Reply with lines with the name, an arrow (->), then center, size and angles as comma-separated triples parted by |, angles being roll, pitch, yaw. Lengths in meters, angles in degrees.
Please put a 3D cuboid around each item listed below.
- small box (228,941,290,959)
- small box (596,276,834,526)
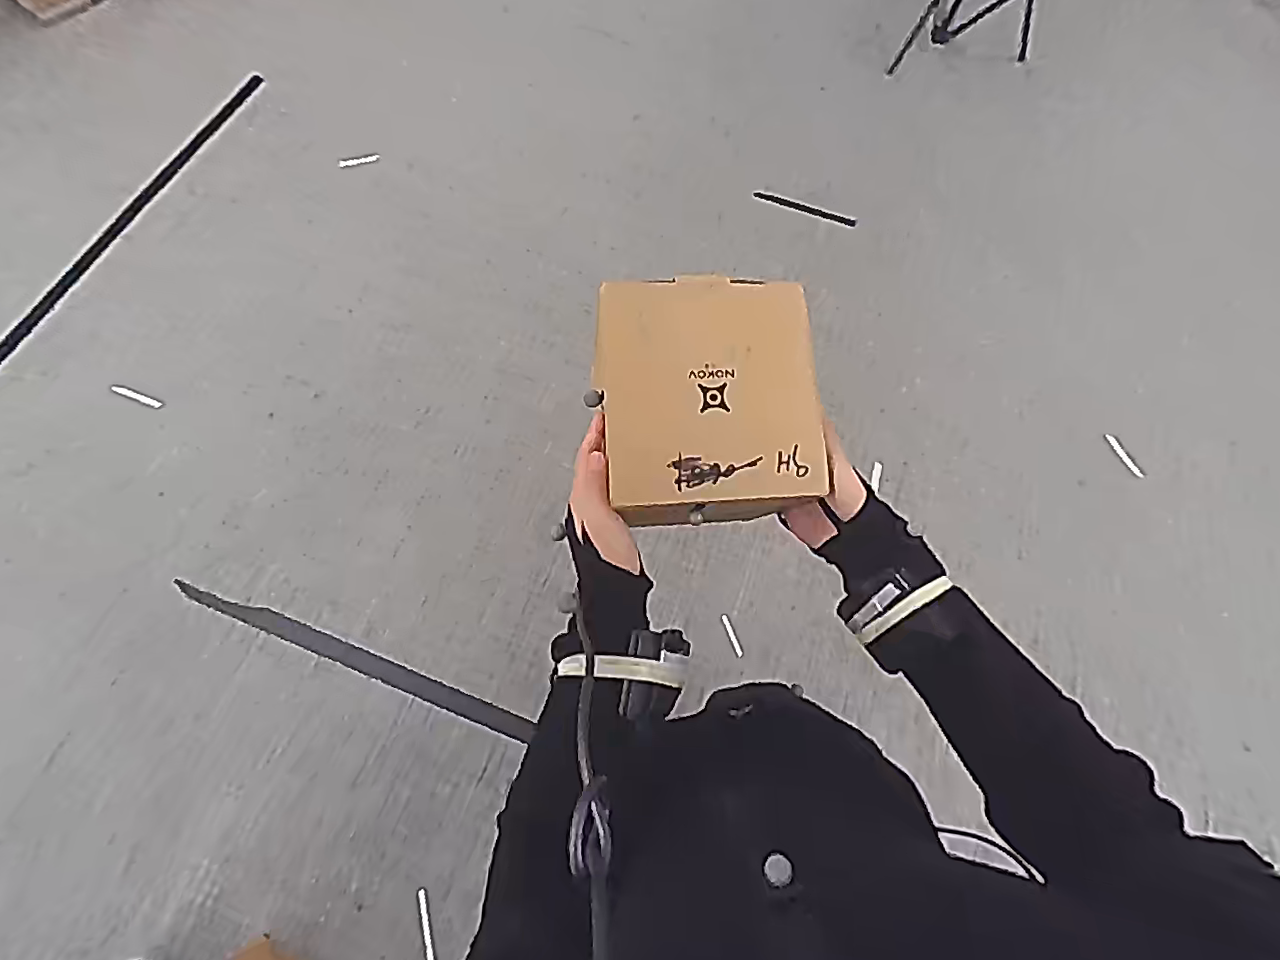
small box -> -0.755, 1.014, 1.004 | 0.179, 0.176, 0.168 | 36, 72, 8
small box -> 0.049, -0.057, 0.484 | 0.168, 0.176, 0.179 | -2, 80, -8
